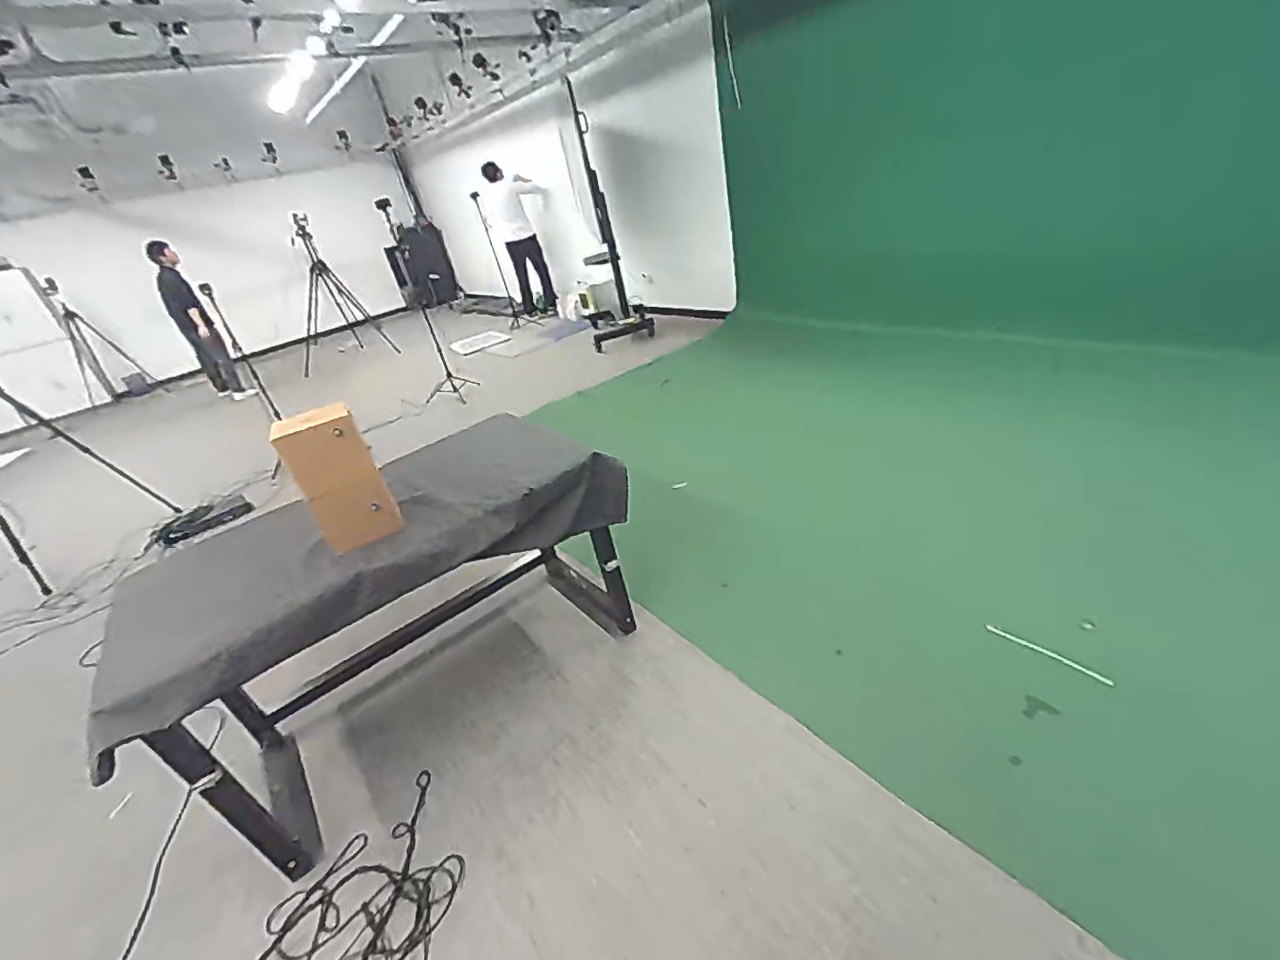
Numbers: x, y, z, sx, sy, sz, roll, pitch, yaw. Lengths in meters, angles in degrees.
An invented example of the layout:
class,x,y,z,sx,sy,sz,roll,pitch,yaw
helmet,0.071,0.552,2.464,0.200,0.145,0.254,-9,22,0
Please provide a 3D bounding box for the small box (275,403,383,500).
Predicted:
class,x,y,z,sx,sy,sz,roll,pitch,yaw
small box,-0.768,-0.072,1.346,0.179,0.176,0.168,-24,30,-21

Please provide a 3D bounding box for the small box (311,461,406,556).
class,x,y,z,sx,sy,sz,roll,pitch,yaw
small box,-0.733,0.068,1.420,0.179,0.176,0.168,-26,30,-21
